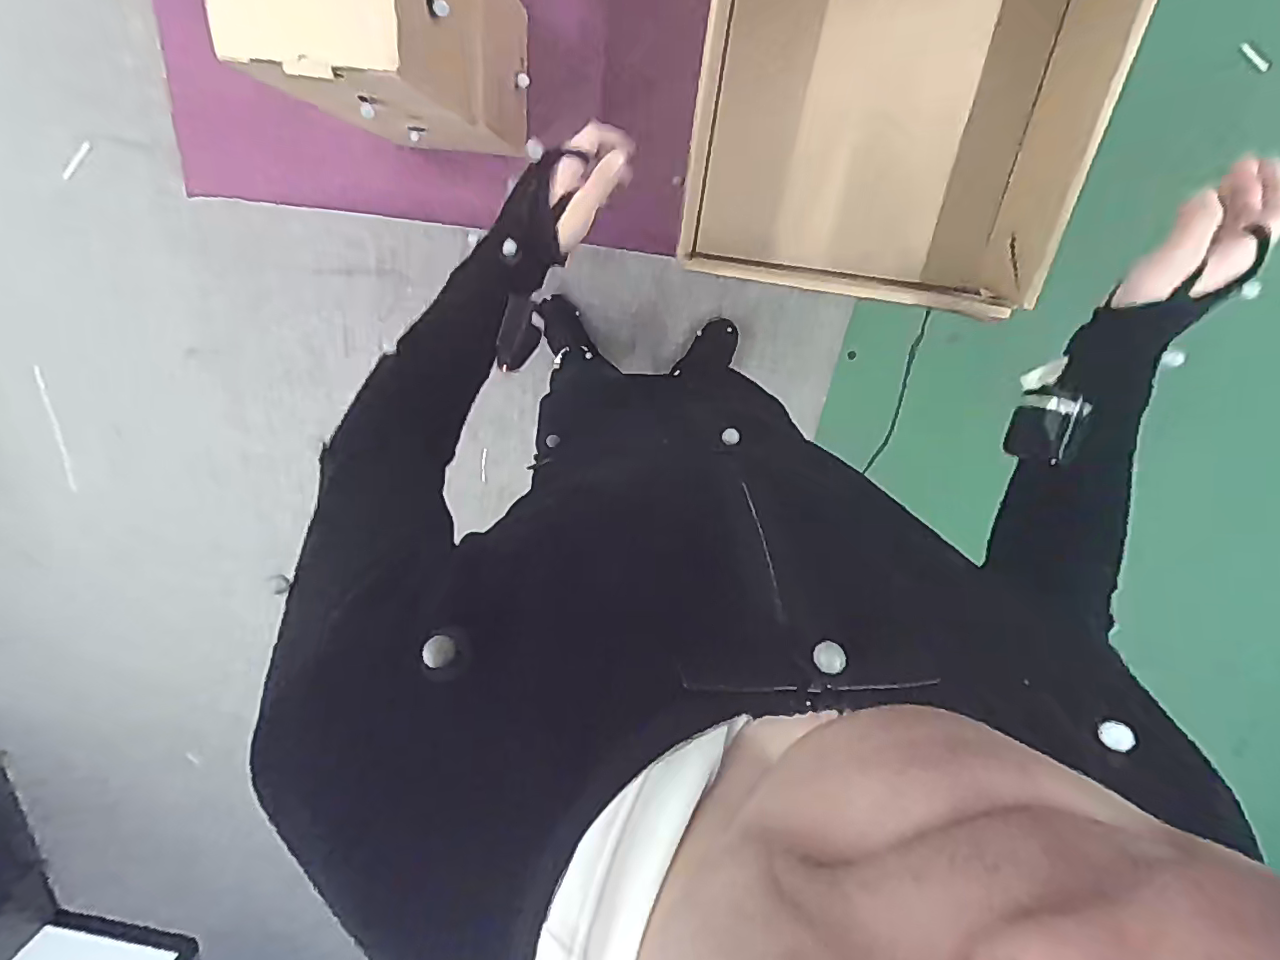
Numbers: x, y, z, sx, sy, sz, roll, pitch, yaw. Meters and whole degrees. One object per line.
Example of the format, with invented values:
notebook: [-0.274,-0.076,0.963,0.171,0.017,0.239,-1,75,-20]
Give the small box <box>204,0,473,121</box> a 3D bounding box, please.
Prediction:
small box: [-0.262,-0.453,0.496,0.168,0.176,0.179,8,112,2]

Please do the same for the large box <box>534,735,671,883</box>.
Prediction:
large box: [-0.126,1.239,2.049,0.408,0.320,0.320,-20,109,12]

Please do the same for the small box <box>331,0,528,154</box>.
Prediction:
small box: [-0.246,-0.507,0.650,0.179,0.176,0.168,7,111,3]
